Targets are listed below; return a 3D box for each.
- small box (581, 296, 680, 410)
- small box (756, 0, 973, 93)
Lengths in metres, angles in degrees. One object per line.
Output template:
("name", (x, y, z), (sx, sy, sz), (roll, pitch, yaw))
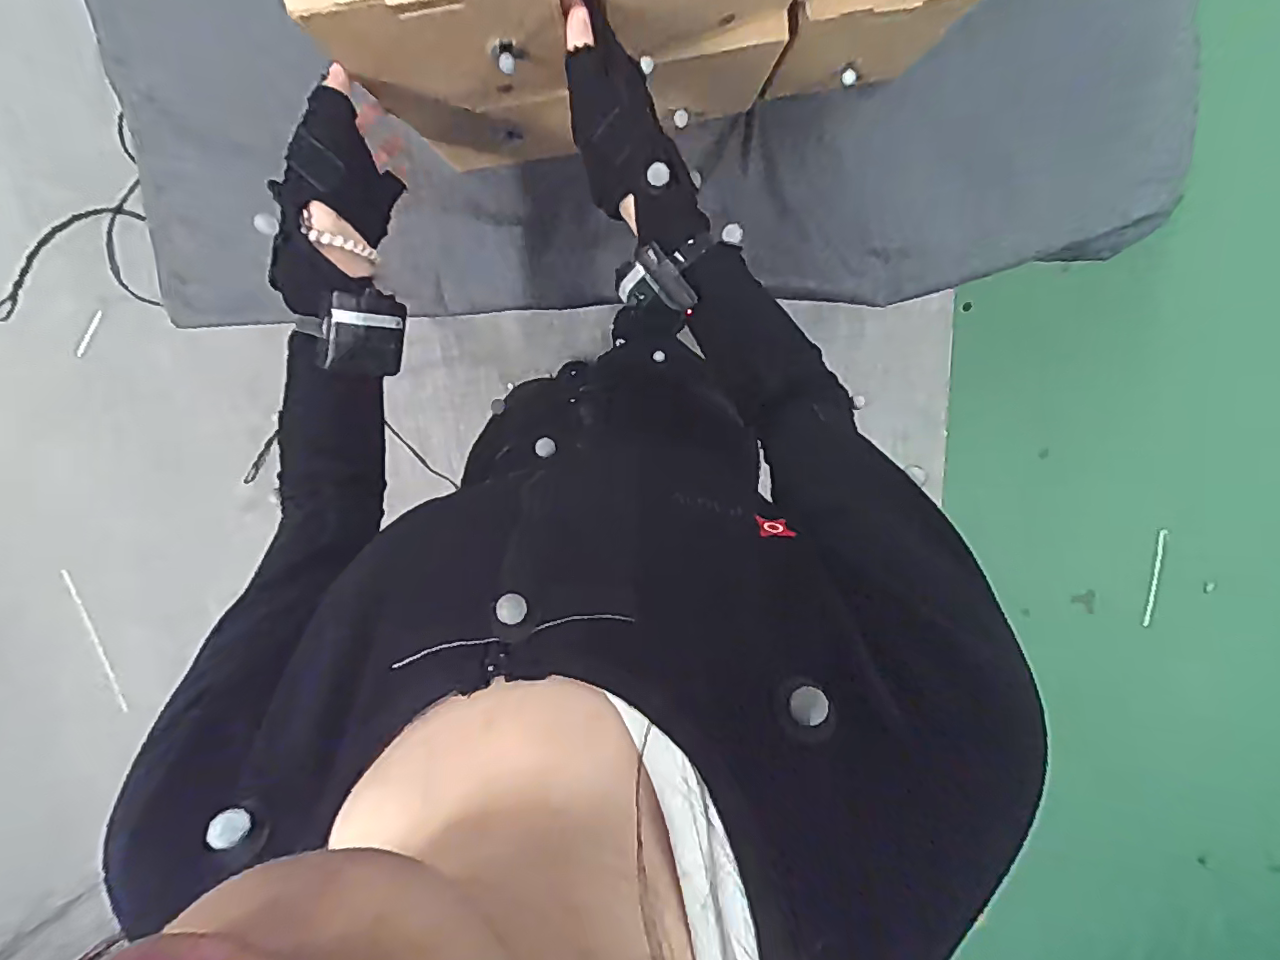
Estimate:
("small box", (-0.022, -0.308, 1.338), (0.168, 0.176, 0.179), (41, 76, 15))
("small box", (0.211, -0.522, 0.529), (0.168, 0.176, 0.179), (-8, 106, 2))
